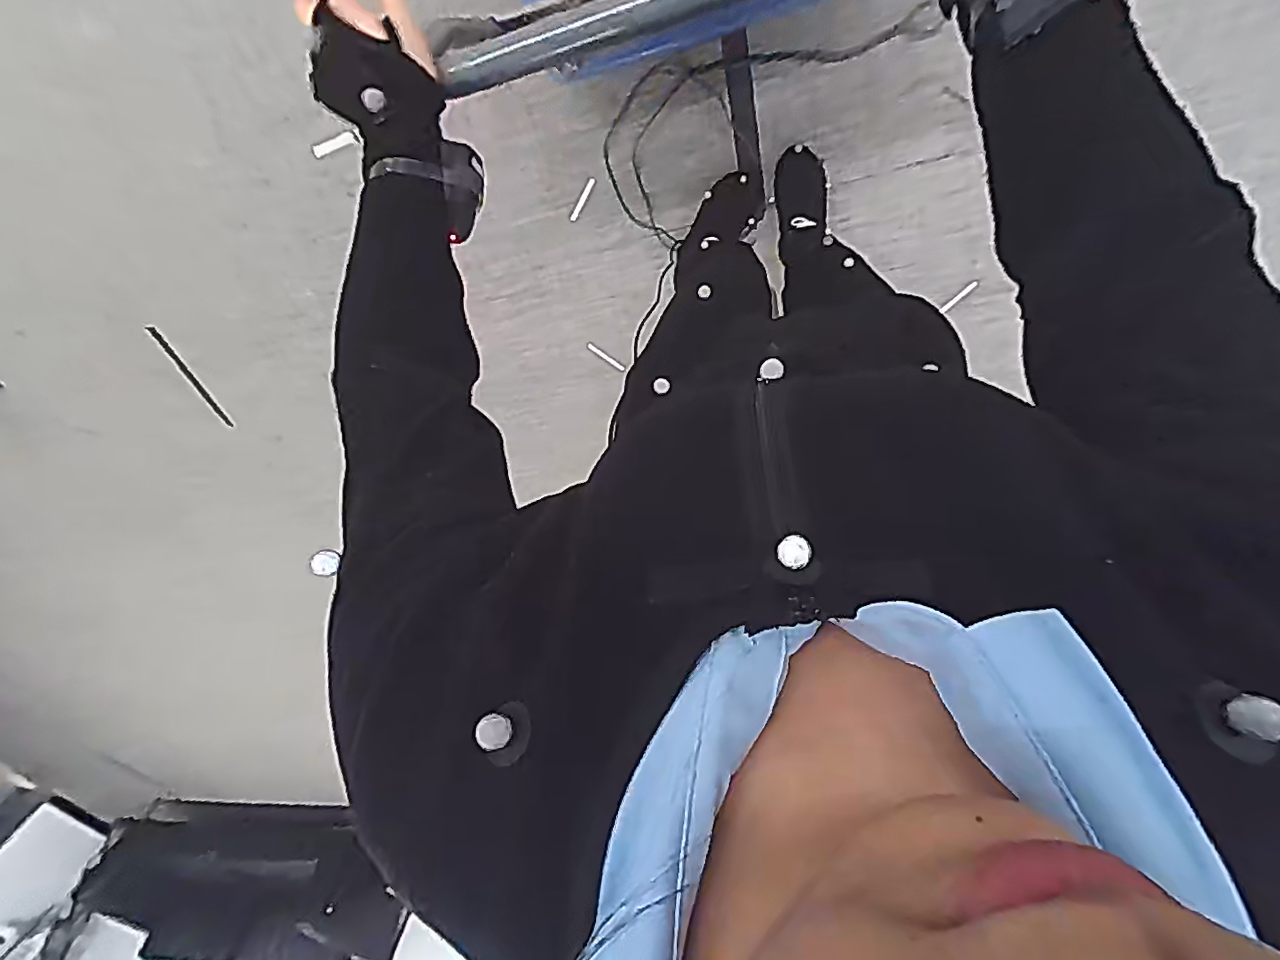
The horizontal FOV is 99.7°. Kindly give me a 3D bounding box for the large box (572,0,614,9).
[{"bbox_3d":[0.035,-0.869,0.676,0.408,0.320,0.320,-8,125,15],"label":"large box"}]
